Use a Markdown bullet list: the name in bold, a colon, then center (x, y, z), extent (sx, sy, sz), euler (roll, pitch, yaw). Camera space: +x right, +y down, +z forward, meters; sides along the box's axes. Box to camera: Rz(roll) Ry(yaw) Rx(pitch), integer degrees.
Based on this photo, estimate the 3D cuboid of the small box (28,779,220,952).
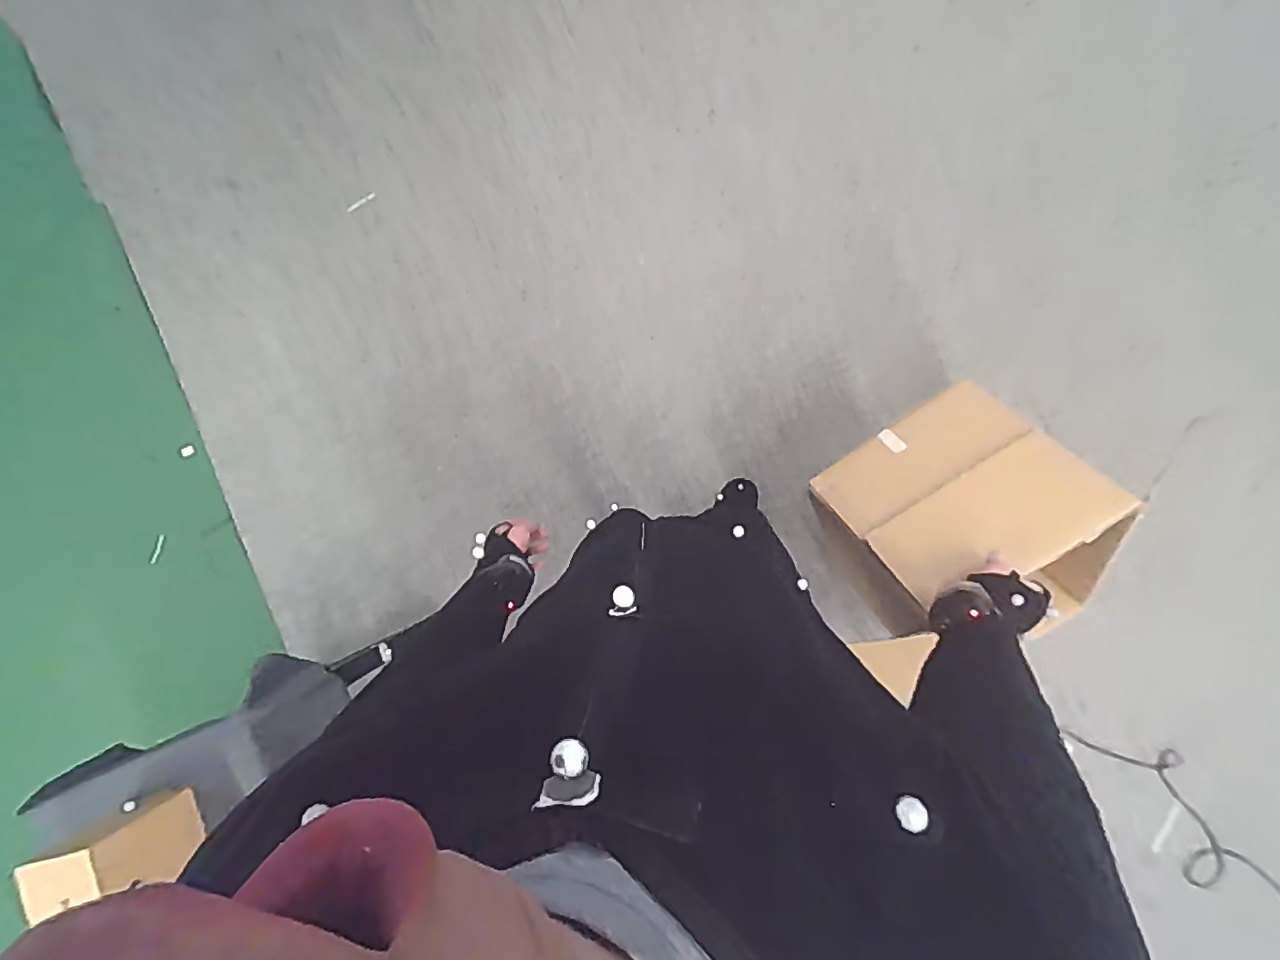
- **small box**: center (-0.898, 0.672, 0.958), extent (0.168, 0.176, 0.179), euler (-18, 89, 12)
